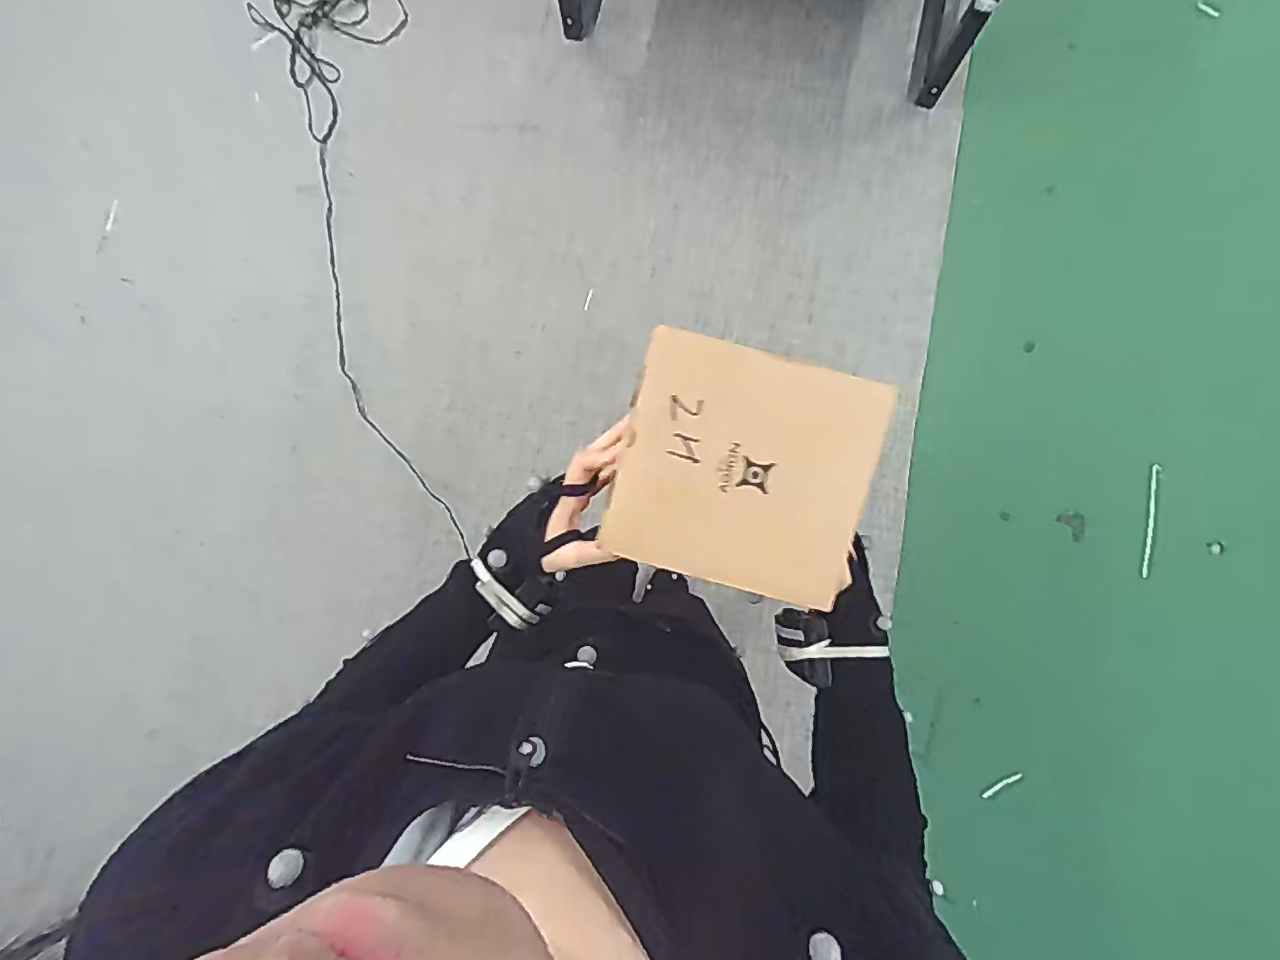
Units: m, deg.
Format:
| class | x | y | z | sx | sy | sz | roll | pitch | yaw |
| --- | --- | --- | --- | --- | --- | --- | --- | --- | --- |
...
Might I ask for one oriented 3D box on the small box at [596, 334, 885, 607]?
| class | x | y | z | sx | sy | sz | roll | pitch | yaw |
| --- | --- | --- | --- | --- | --- | --- | --- | --- | --- |
| small box | 0.073 | -0.011 | 0.468 | 0.179 | 0.176 | 0.168 | 14 | 94 | 1 |
